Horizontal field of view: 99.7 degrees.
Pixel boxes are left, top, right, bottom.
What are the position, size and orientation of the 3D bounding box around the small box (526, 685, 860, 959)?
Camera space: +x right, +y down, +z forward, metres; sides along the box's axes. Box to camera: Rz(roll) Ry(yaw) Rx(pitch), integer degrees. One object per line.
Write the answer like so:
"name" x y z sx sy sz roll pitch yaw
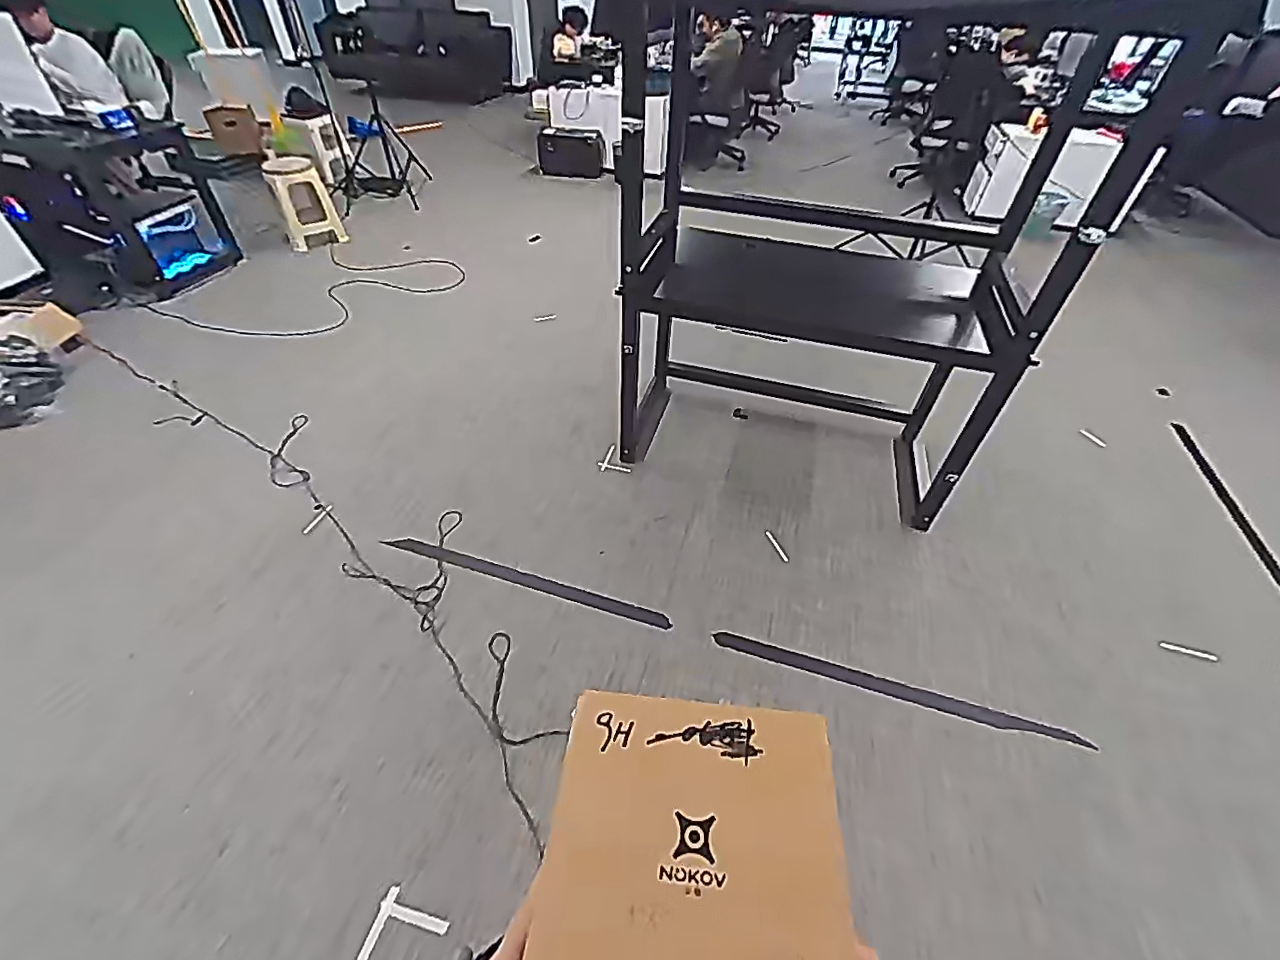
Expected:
"small box" 0.034 0.261 0.352 0.168 0.176 0.179 4 45 6
